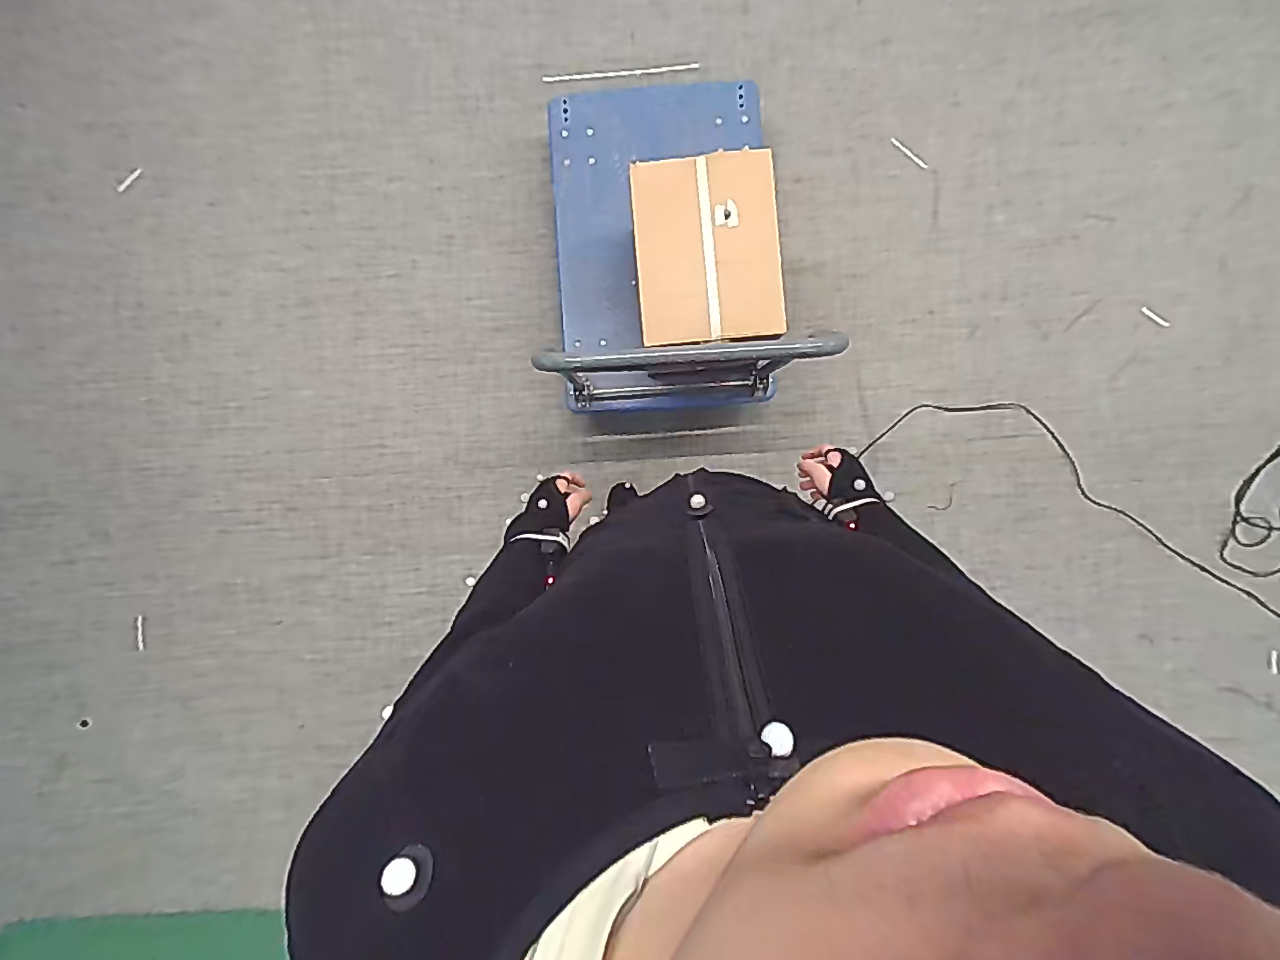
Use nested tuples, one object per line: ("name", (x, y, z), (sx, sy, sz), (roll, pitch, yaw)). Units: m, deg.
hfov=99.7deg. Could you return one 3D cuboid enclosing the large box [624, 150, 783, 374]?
("large box", (0.140, -0.500, 1.316), (0.320, 0.320, 0.408), (-5, 90, 1))
